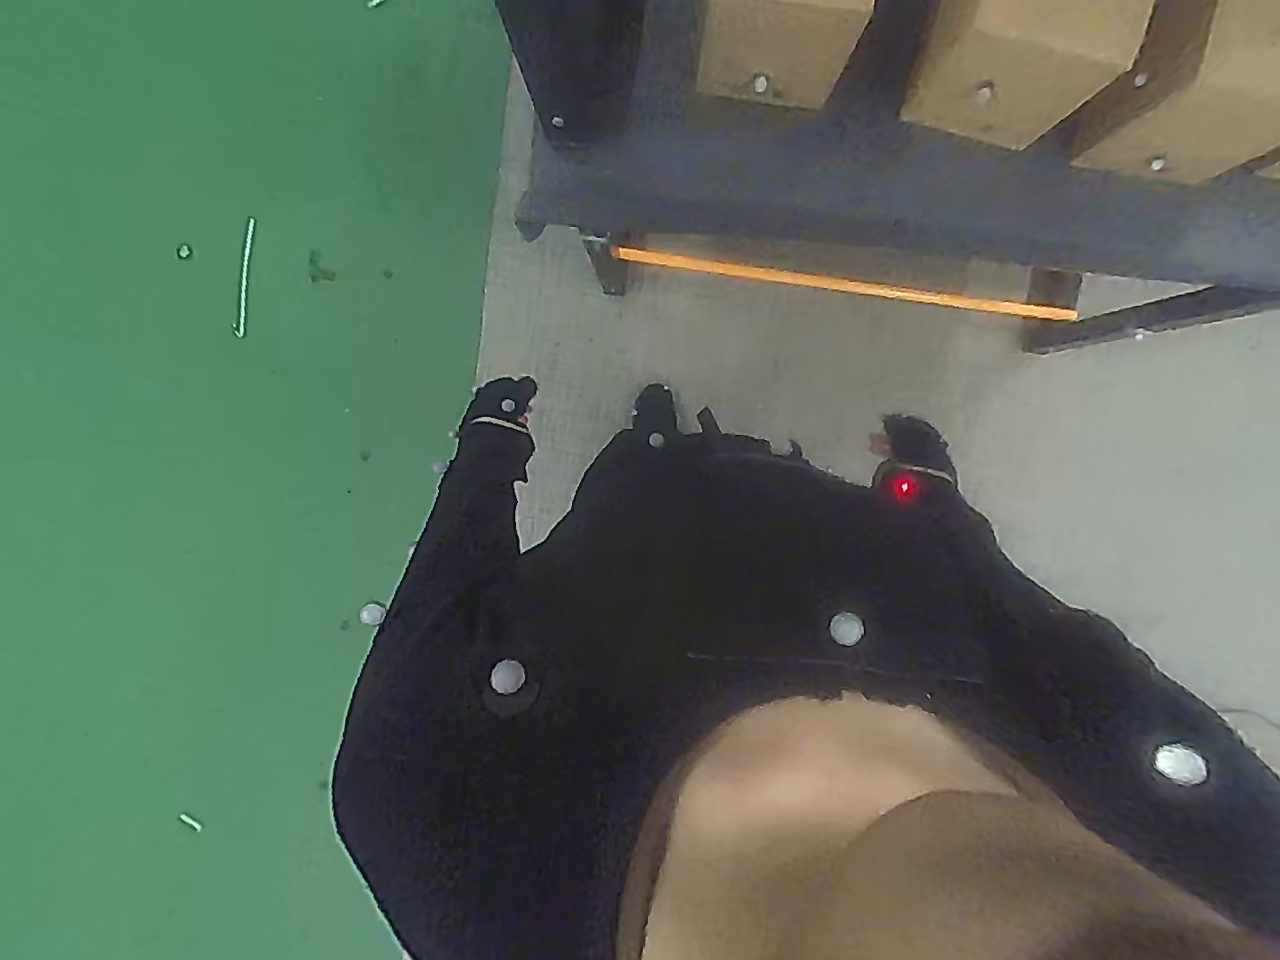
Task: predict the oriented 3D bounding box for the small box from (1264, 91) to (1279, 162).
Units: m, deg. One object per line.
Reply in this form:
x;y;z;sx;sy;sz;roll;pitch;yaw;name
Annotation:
0.867;-0.454;0.591;0.168;0.176;0.179;11;95;1;small box

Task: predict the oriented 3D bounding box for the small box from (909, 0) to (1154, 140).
0.431;-0.522;0.603;0.168;0.176;0.179;15;96;0;small box

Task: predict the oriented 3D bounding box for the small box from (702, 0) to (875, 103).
0.166;-0.571;0.605;0.168;0.176;0.179;8;97;1;small box
